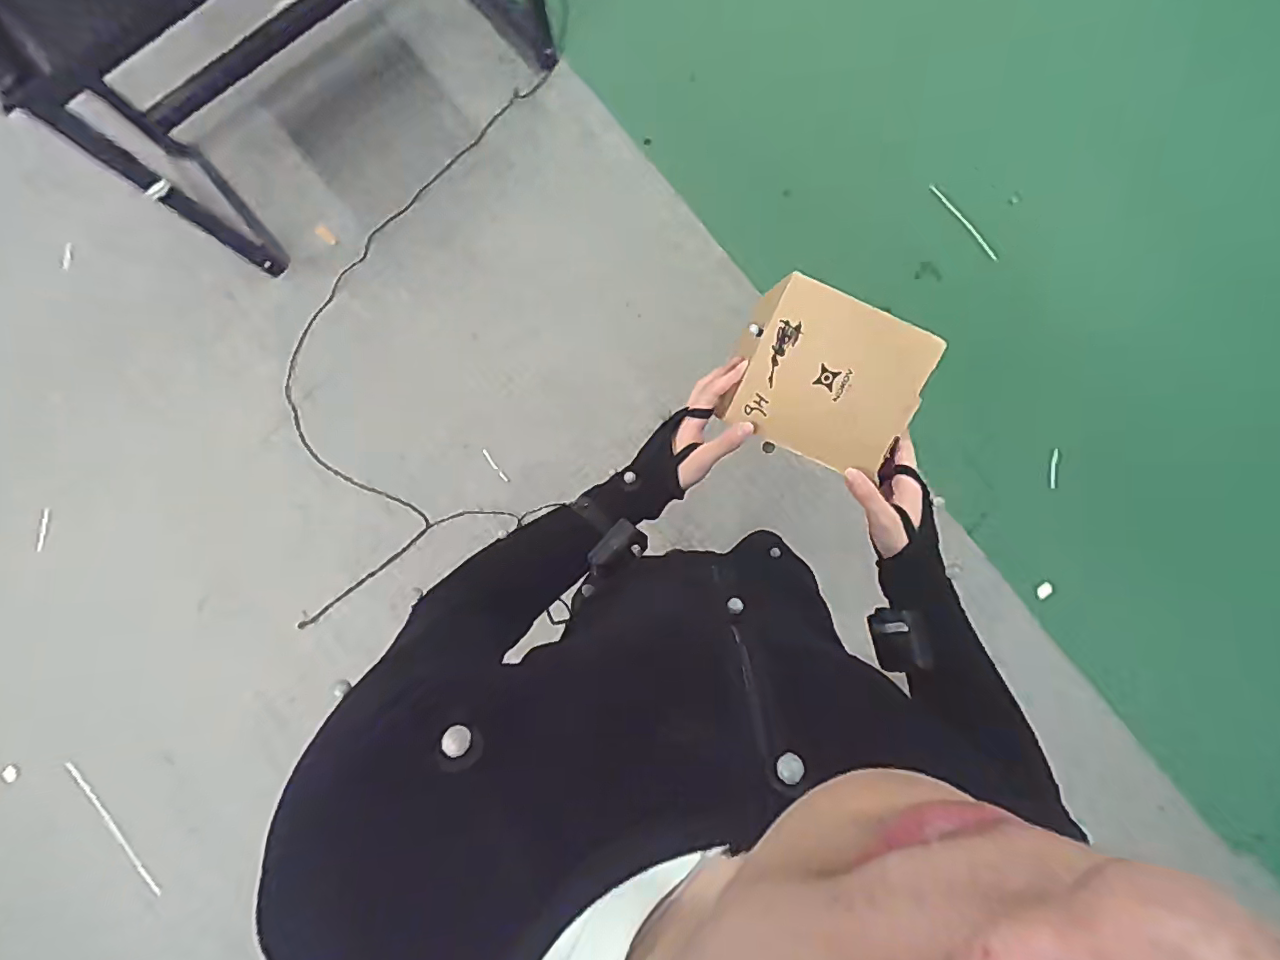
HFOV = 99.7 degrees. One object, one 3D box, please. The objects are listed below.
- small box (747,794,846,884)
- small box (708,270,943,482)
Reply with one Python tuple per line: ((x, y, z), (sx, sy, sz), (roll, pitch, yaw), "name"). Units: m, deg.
((0.404, 0.967, 1.421), (0.179, 0.176, 0.168), (37, 85, 4), "small box")
((0.196, -0.117, 0.628), (0.179, 0.176, 0.168), (23, 99, -4), "small box")
